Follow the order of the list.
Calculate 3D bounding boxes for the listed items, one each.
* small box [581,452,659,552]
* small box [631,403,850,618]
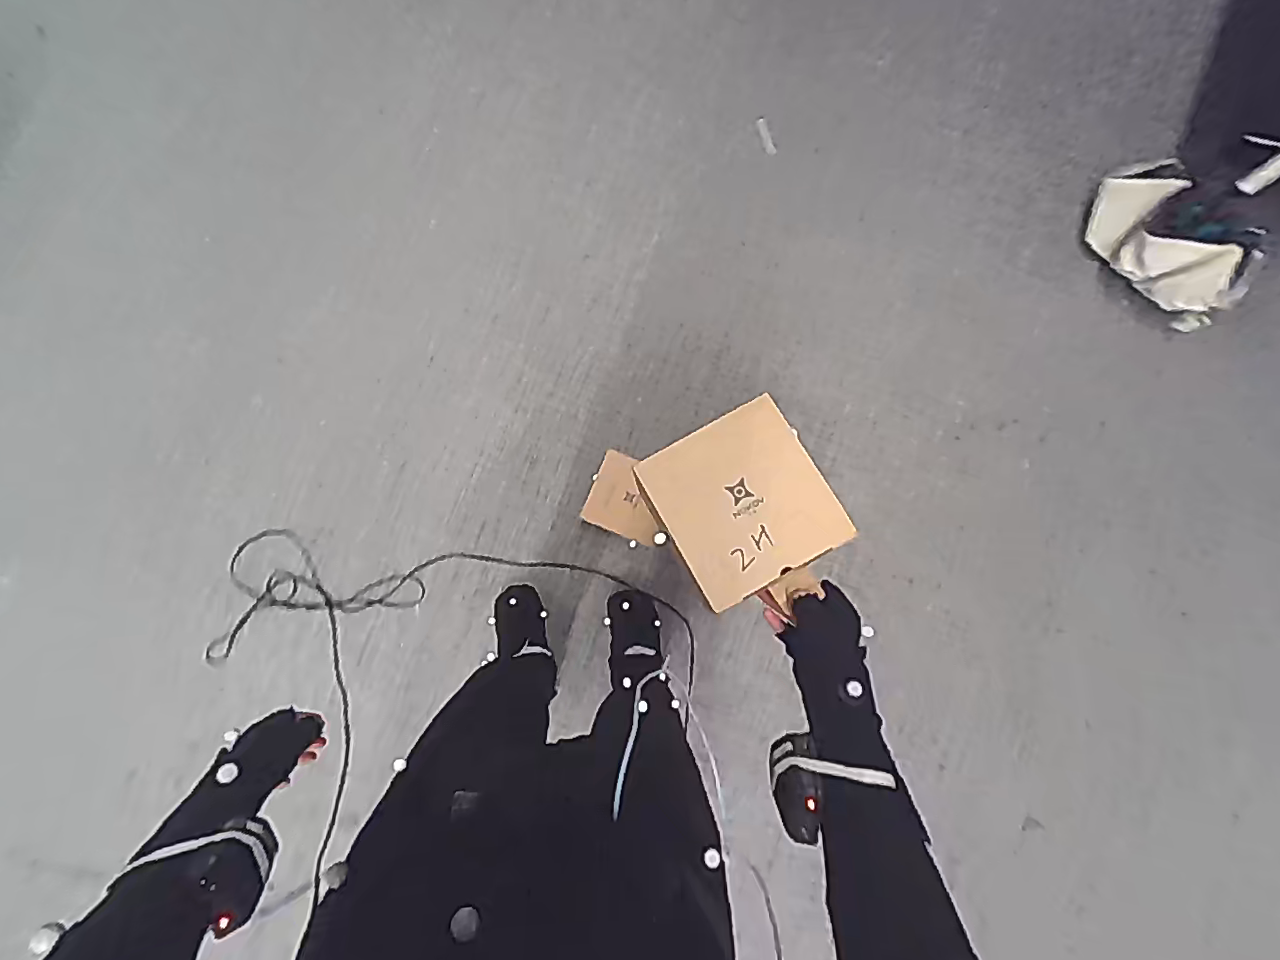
[{"bbox_3d":[-0.019,0.051,1.237,0.179,0.176,0.168,24,85,0],"label":"small box"},{"bbox_3d":[0.103,0.044,0.632,0.168,0.176,0.179,-30,79,-3],"label":"small box"}]
